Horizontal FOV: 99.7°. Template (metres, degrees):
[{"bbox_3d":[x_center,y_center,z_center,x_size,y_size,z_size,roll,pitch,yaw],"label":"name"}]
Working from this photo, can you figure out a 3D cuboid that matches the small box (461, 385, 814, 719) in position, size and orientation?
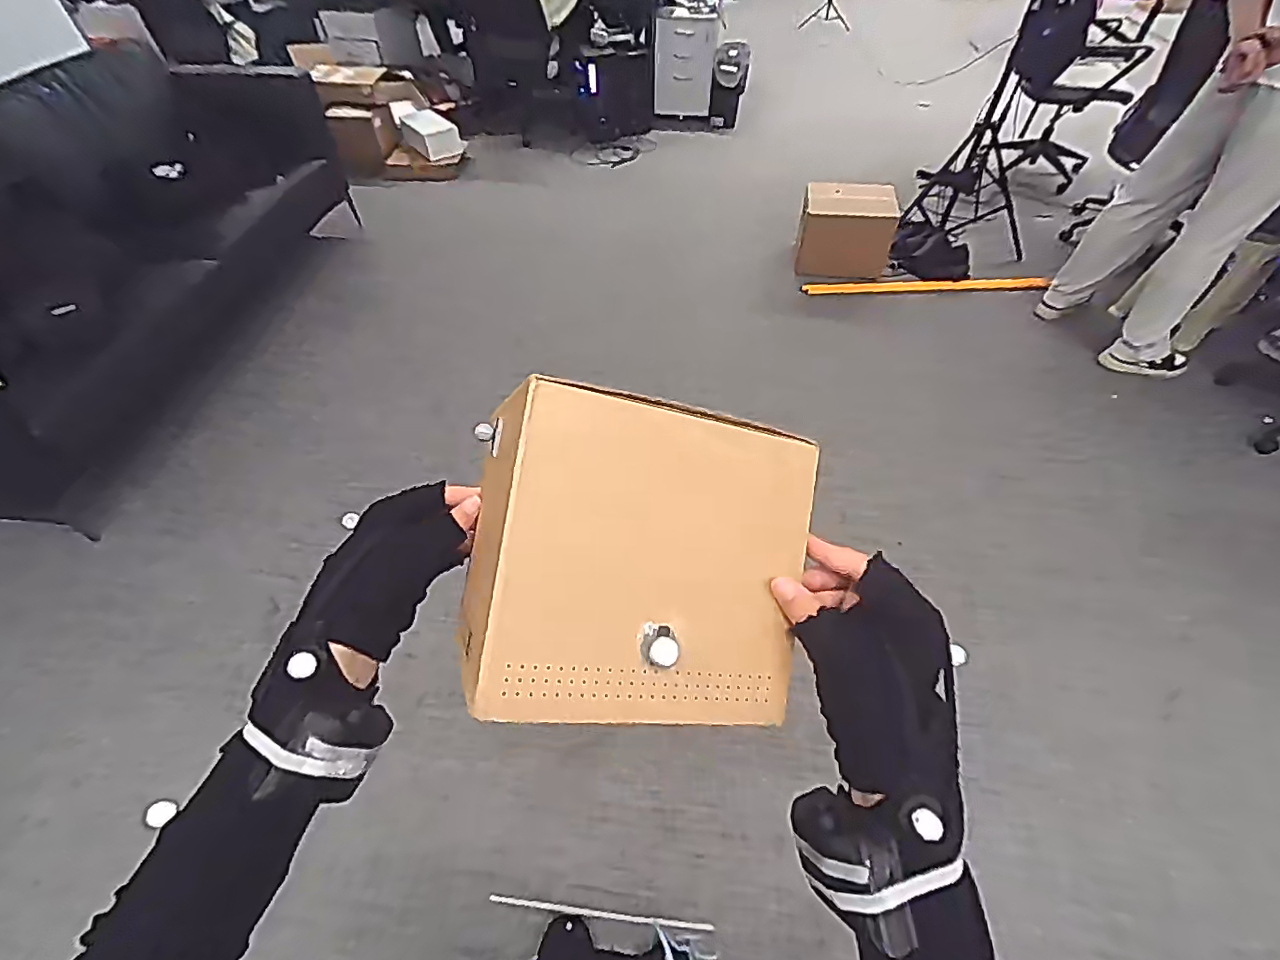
[{"bbox_3d":[-0.014,0.049,0.369,0.179,0.168,0.176,11,85,-21],"label":"small box"}]
